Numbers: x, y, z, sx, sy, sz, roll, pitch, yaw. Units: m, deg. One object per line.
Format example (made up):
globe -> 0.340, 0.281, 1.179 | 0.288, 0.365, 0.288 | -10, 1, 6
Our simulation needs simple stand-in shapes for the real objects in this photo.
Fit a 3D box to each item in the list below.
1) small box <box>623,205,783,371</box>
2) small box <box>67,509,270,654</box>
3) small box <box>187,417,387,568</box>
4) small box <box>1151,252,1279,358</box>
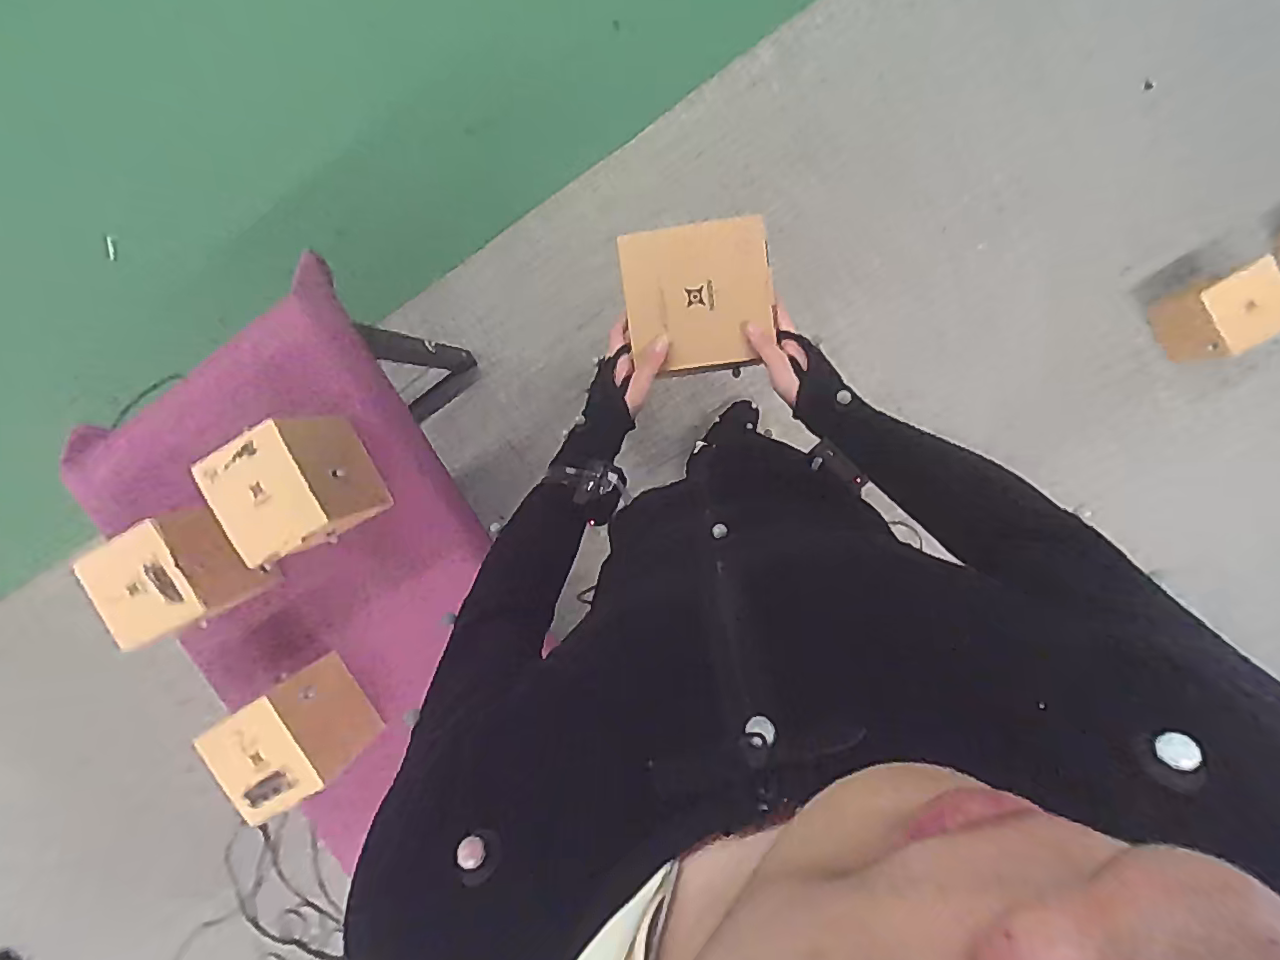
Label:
small box -> 0.078, -0.235, 0.704 | 0.179, 0.176, 0.168 | -6, 98, 5
small box -> -0.773, 0.157, 0.914 | 0.179, 0.176, 0.168 | -26, 94, 9
small box -> -0.549, 0.010, 0.868 | 0.168, 0.176, 0.179 | -27, 95, 10
small box -> 1.428, -0.417, 1.326 | 0.168, 0.176, 0.179 | -33, 94, 9
